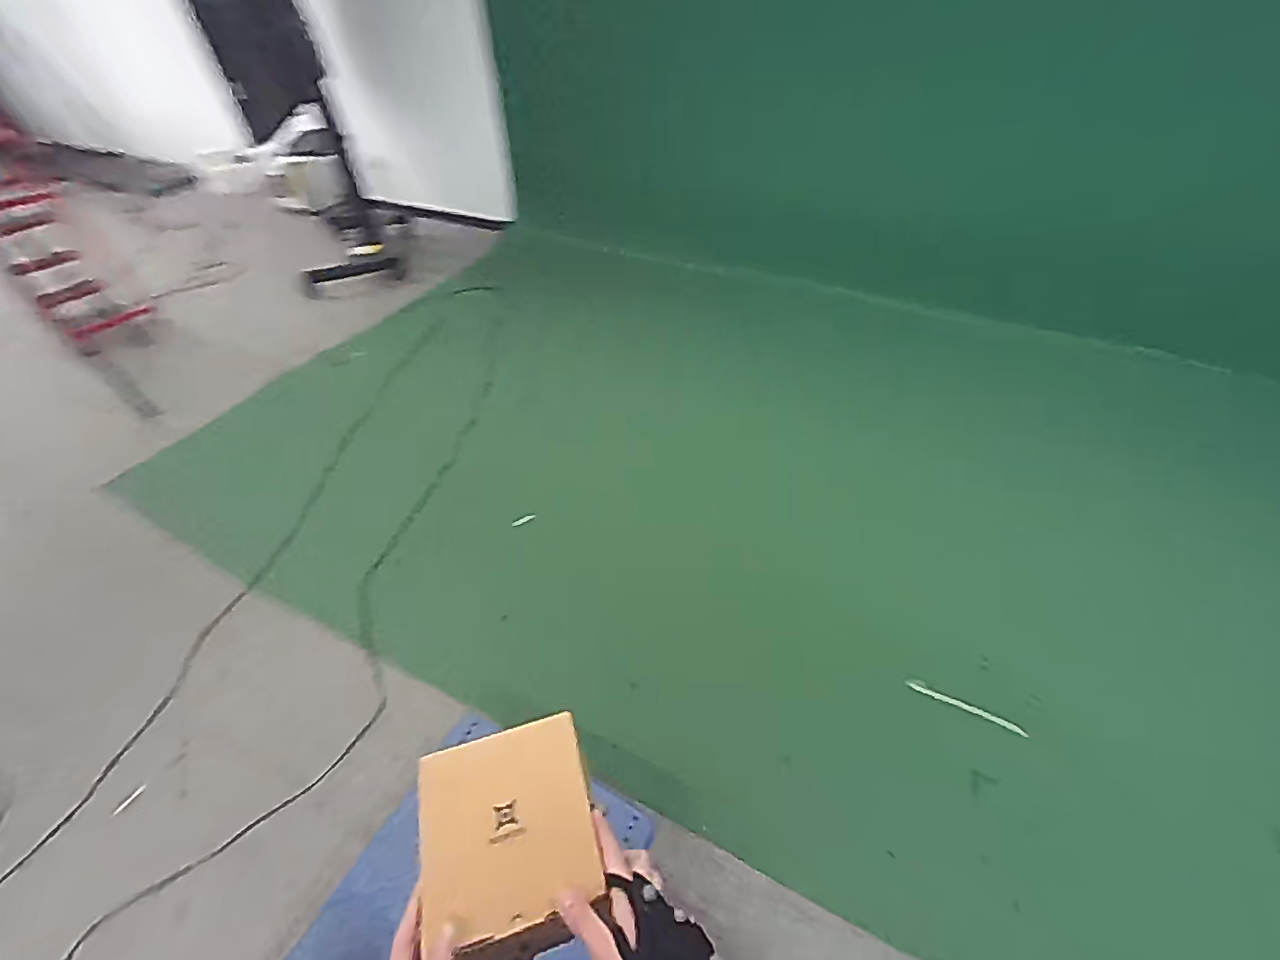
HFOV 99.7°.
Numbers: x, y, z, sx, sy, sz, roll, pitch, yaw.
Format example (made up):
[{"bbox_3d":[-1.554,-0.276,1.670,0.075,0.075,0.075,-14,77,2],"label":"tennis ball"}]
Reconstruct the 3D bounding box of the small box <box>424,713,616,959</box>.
[{"bbox_3d":[-0.126,0.390,0.586,0.168,0.176,0.179,-13,47,-11],"label":"small box"}]
